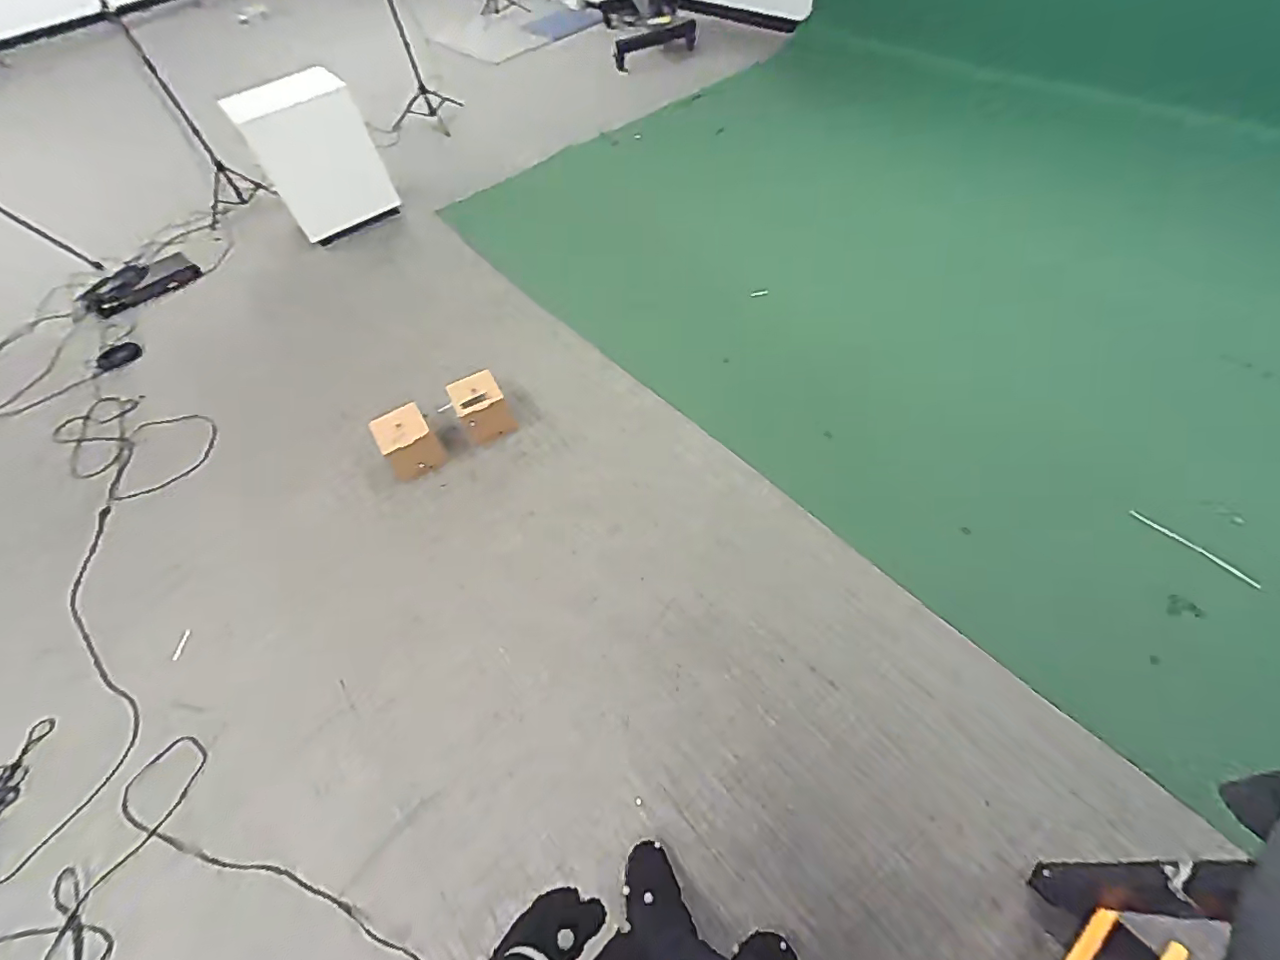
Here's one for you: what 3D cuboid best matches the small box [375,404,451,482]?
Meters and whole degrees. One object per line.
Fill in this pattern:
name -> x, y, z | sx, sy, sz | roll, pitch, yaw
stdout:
small box -> -0.785, -0.125, 1.881 | 0.168, 0.176, 0.179 | -29, 57, -13
